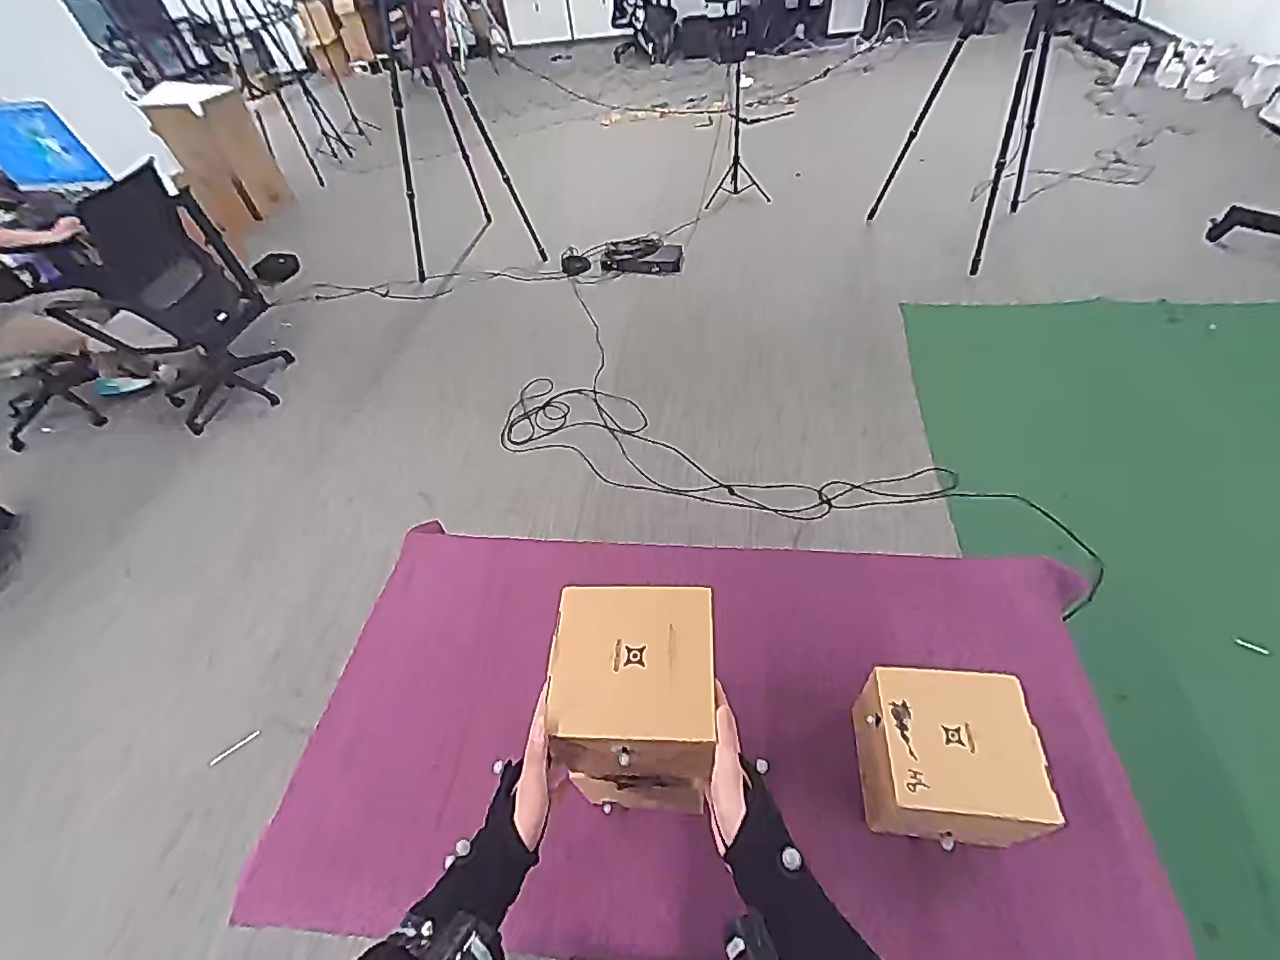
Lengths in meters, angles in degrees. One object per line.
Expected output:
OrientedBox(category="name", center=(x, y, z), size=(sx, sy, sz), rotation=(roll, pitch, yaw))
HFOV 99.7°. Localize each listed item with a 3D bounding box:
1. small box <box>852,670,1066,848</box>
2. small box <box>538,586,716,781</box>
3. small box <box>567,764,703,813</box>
OrientedBox(category="small box", center=(0.395, 0.368, 0.709), size=(0.179, 0.176, 0.168), rotation=(2, 50, 8))
OrientedBox(category="small box", center=(-0.002, 0.238, 0.626), size=(0.179, 0.176, 0.168), rotation=(1, 51, 6))
OrientedBox(category="small box", center=(0.007, 0.355, 0.769), size=(0.168, 0.176, 0.179), rotation=(1, 48, 8))
